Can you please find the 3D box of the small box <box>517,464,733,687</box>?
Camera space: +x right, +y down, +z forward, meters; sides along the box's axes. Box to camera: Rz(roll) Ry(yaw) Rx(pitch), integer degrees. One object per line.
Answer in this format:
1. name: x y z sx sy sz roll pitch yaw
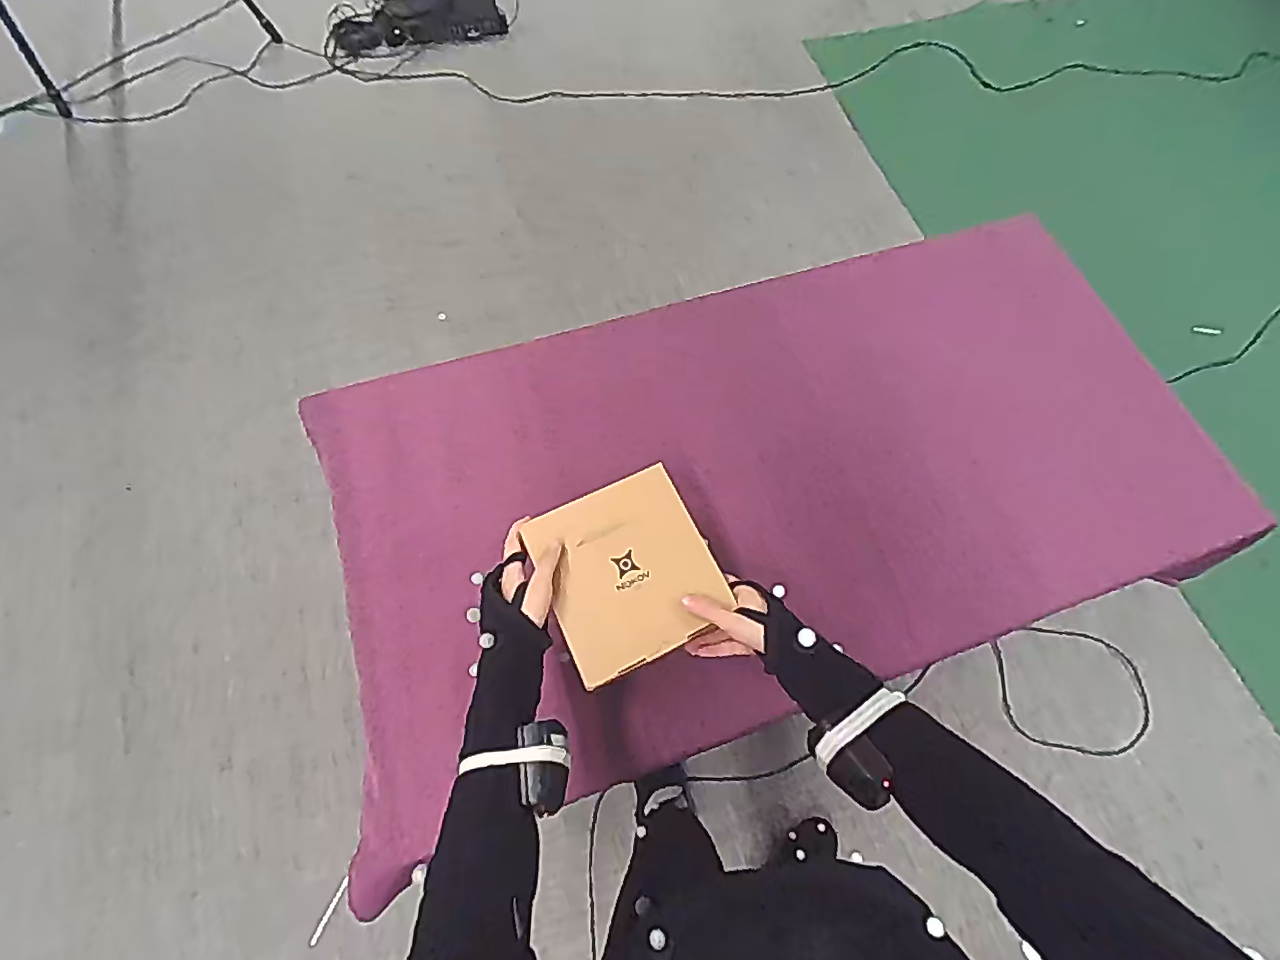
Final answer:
1. small box: -0.020 0.113 0.607 0.168 0.176 0.179 -23 71 -12
